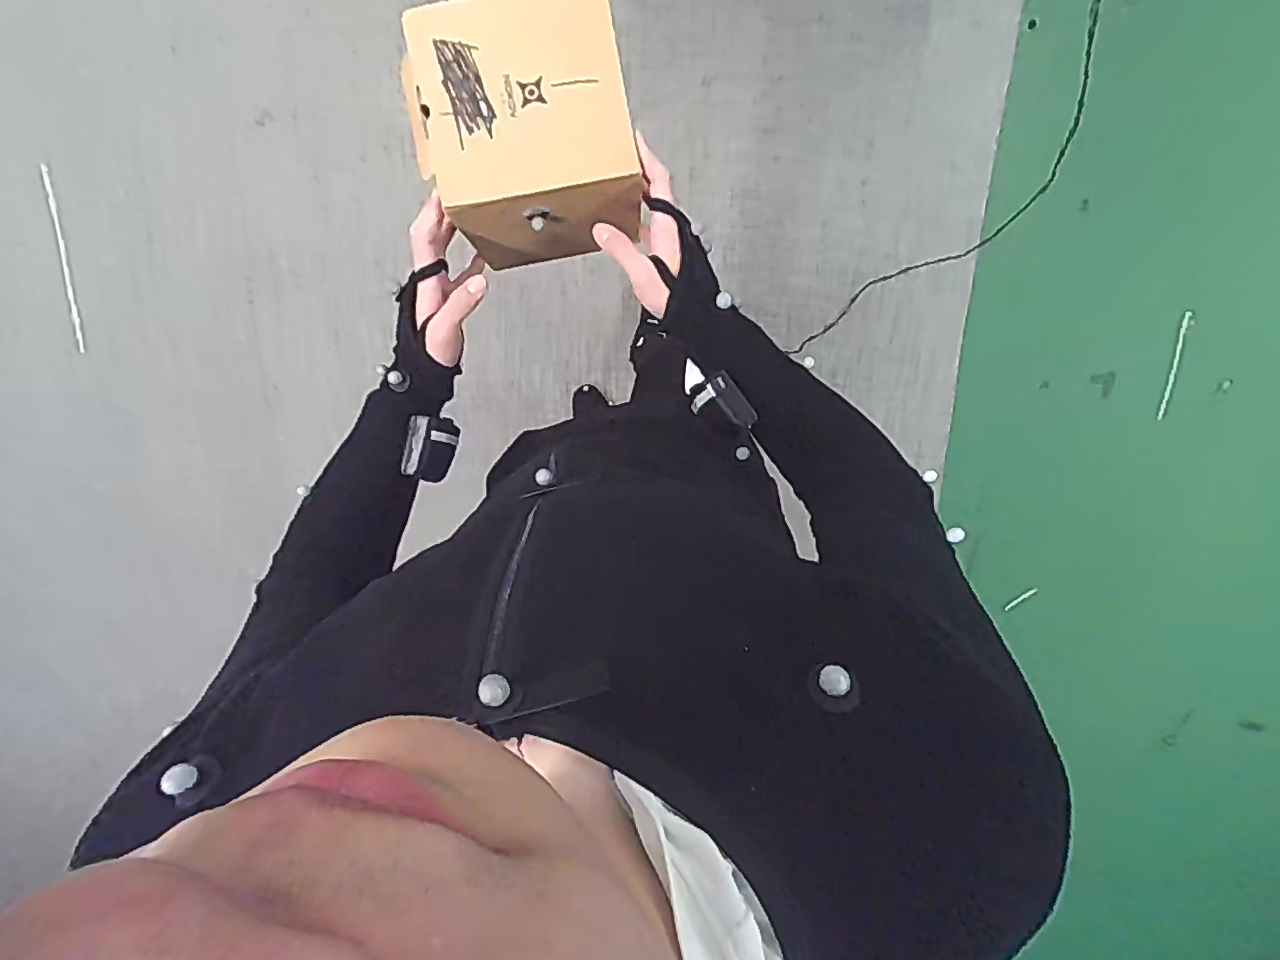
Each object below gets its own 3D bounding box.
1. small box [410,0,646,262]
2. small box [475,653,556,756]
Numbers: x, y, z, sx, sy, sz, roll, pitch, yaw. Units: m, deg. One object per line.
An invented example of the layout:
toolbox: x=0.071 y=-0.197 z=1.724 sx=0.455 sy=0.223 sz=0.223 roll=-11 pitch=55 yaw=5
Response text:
small box: x=-0.094 y=-0.334 z=0.535 sx=0.179 sy=0.176 sz=0.168 roll=-11 pitch=95 yaw=-1
small box: x=-0.310 y=0.560 z=1.370 sx=0.168 sy=0.176 sz=0.179 roll=8 pitch=102 yaw=-4
